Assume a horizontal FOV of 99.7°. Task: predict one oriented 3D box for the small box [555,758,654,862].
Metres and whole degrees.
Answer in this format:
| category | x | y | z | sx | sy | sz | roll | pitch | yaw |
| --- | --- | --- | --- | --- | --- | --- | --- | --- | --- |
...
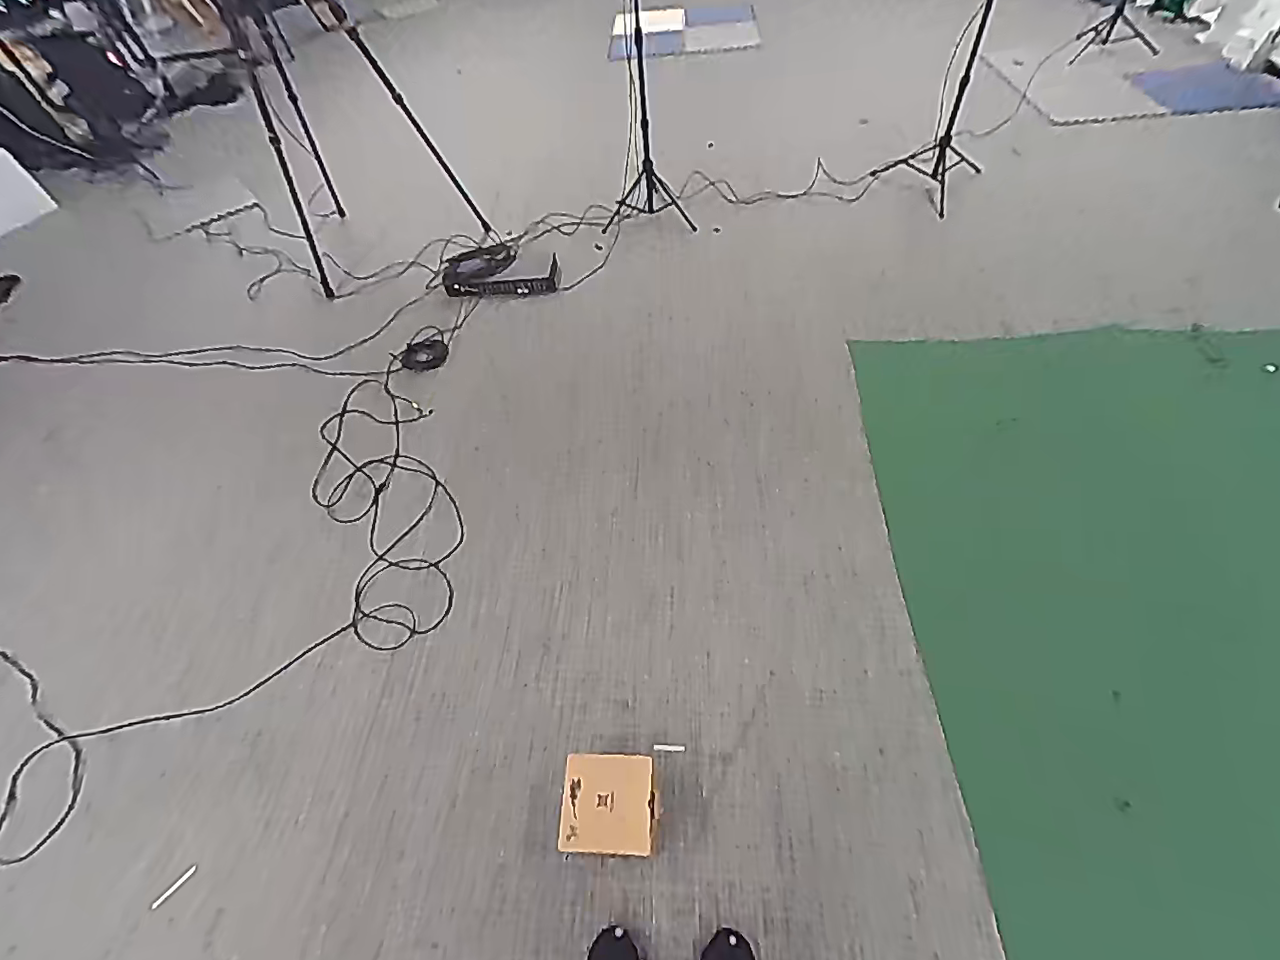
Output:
| category | x | y | z | sx | sy | sz | roll | pitch | yaw |
| --- | --- | --- | --- | --- | --- | --- | --- | --- | --- |
| small box | -0.062 | 0.671 | 1.099 | 0.179 | 0.176 | 0.168 | -1 | 54 | 5 |
